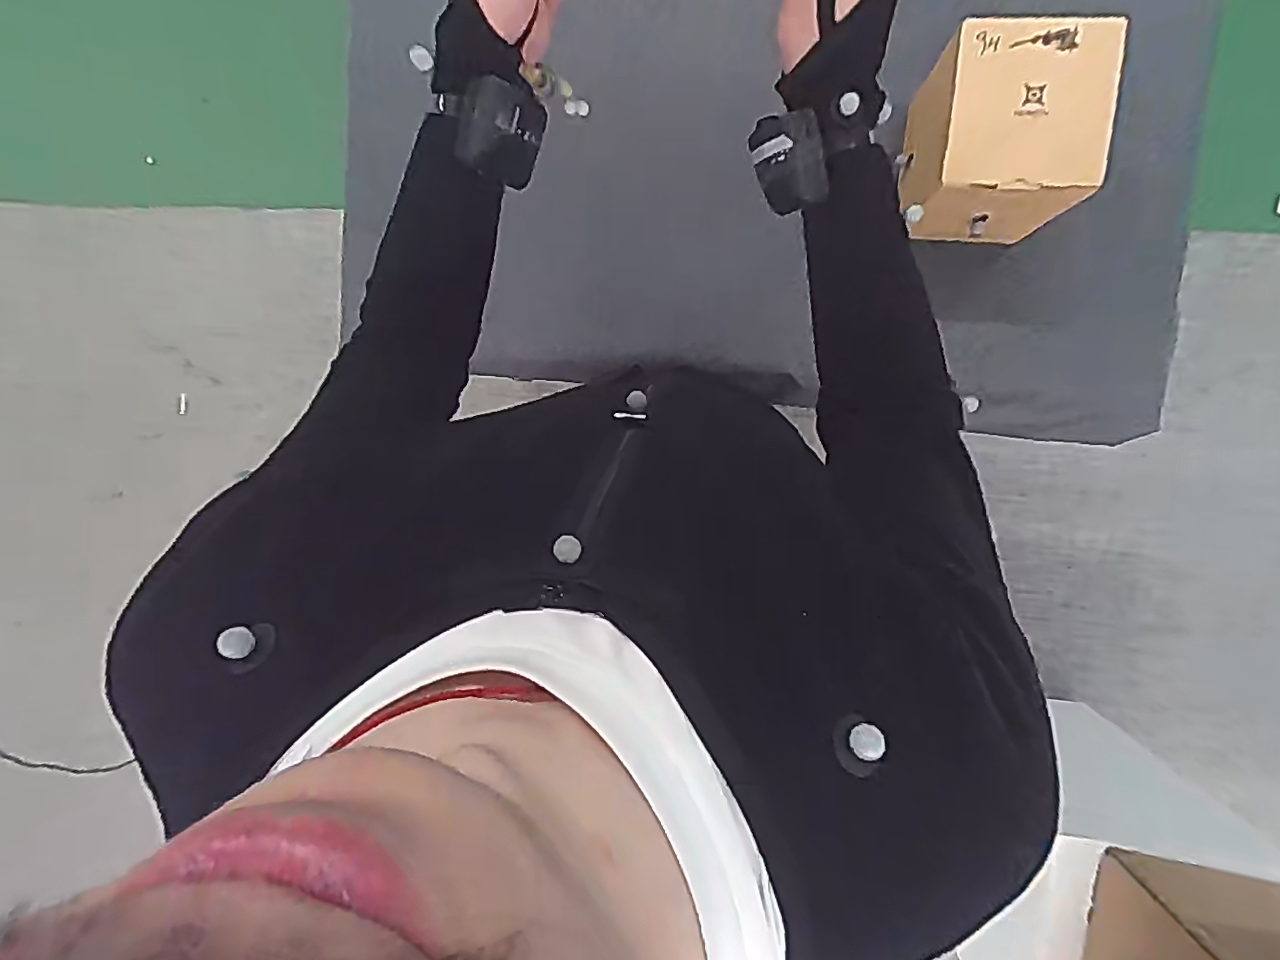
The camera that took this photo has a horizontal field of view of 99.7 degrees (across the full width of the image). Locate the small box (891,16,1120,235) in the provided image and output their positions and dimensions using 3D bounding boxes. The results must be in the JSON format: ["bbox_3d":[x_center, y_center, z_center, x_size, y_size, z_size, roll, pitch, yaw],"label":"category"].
[{"bbox_3d":[0.428,-0.419,0.667,0.168,0.176,0.179,6,97,6],"label":"small box"}]
